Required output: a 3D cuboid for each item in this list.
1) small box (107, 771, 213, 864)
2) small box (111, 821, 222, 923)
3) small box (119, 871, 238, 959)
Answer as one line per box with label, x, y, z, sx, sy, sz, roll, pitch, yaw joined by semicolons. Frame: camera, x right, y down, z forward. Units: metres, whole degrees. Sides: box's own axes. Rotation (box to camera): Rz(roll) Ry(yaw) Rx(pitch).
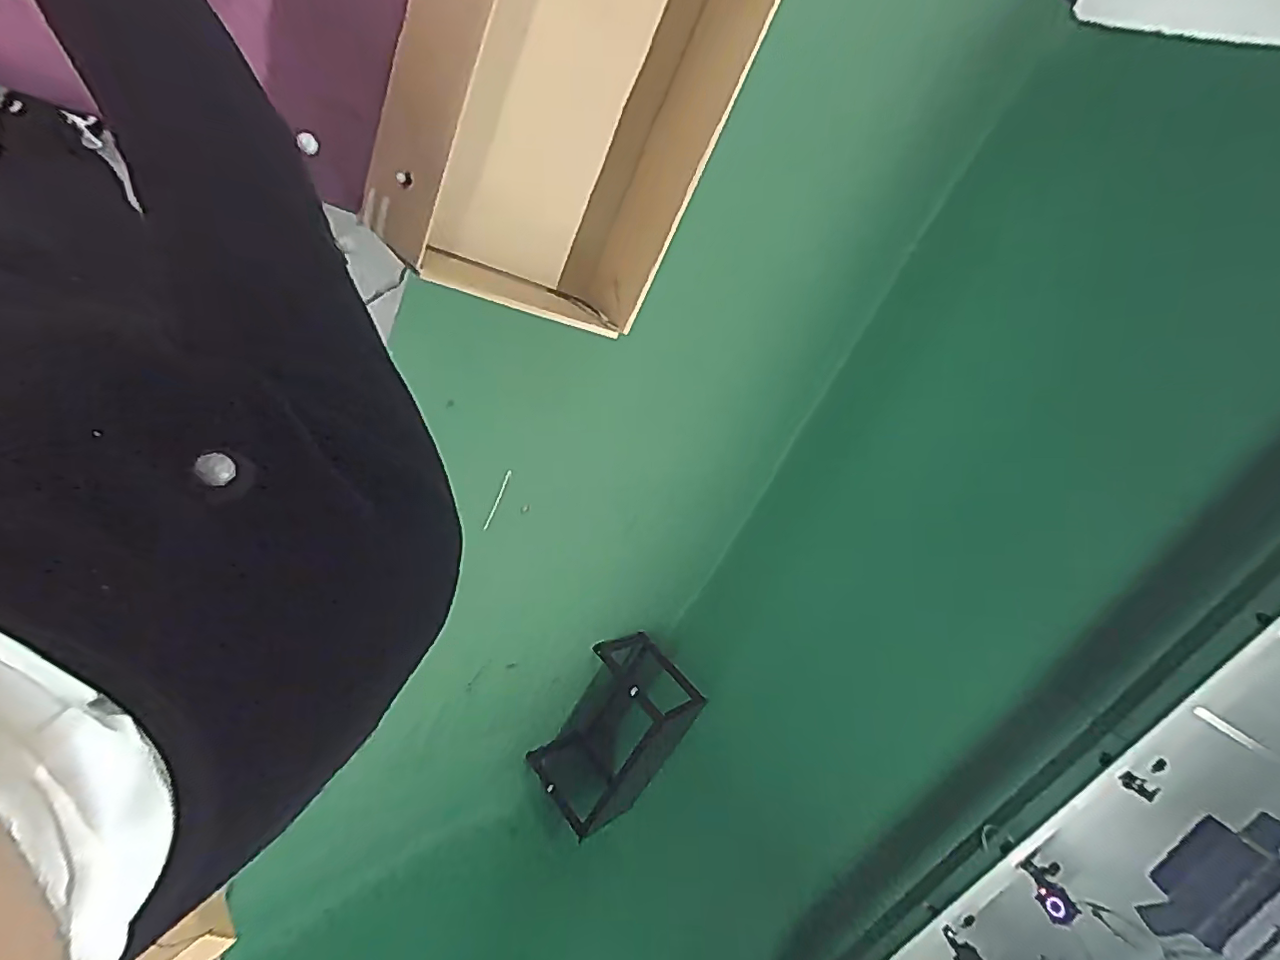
small box;-1.414;1.005;1.590;0.179;0.176;0.168;-31;144;-28
small box;-1.309;1.090;1.499;0.168;0.176;0.179;-31;143;-29
small box;-1.205;1.177;1.409;0.179;0.176;0.168;-33;145;-29
